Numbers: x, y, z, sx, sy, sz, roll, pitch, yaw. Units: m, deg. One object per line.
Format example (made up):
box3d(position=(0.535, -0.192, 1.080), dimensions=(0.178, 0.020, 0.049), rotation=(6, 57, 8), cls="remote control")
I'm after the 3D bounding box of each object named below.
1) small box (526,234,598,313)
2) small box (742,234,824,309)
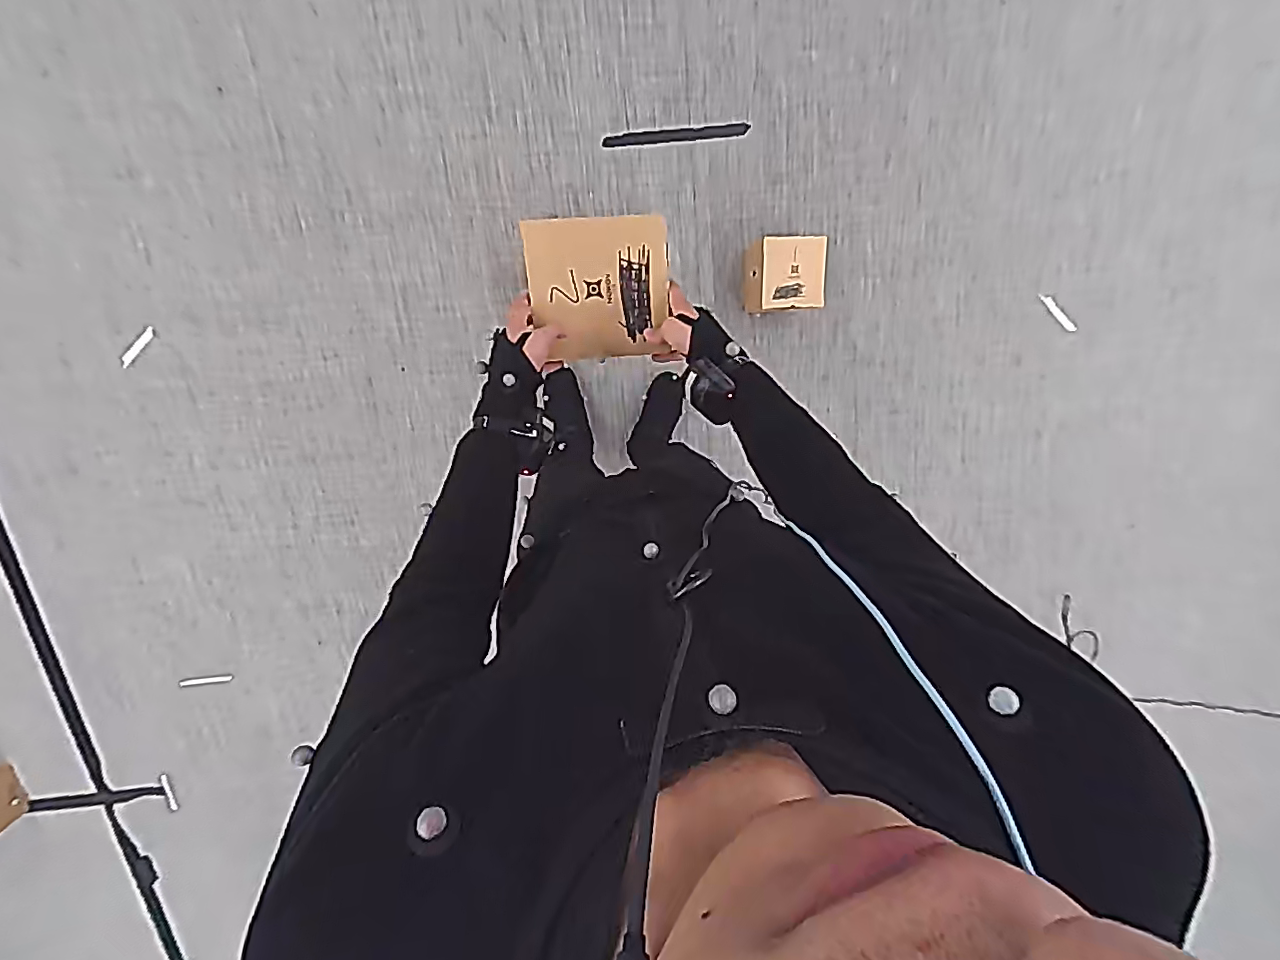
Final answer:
box3d(position=(-0.197, -0.531, 1.410), dimensions=(0.168, 0.176, 0.179), rotation=(-4, 104, -3), cls="small box")
box3d(position=(0.376, -0.552, 1.449), dimensions=(0.168, 0.176, 0.179), rotation=(-3, 104, -5), cls="small box")
